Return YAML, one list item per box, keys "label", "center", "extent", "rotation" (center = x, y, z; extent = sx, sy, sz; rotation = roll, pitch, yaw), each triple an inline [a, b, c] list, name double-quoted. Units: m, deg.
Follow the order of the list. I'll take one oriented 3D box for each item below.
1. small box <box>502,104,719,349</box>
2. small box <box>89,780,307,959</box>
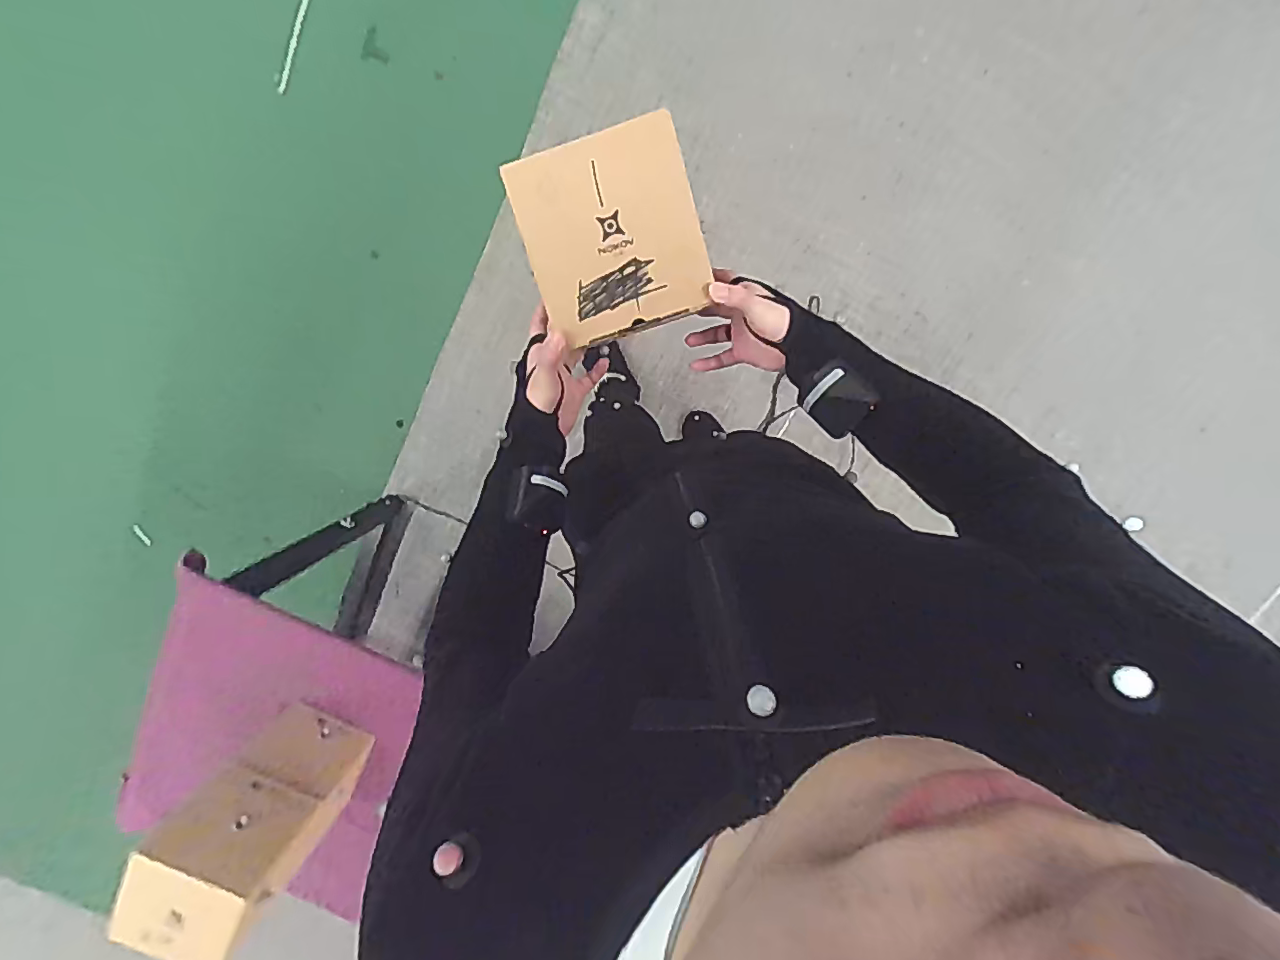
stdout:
- label: "small box"
  center: [-0.023, -0.247, 0.574]
  extent: [0.168, 0.176, 0.179]
  rotation: [-15, 103, 3]
- label: "small box"
  center: [-0.634, 0.590, 0.797]
  extent: [0.168, 0.176, 0.179]
  rotation: [27, 104, -3]
